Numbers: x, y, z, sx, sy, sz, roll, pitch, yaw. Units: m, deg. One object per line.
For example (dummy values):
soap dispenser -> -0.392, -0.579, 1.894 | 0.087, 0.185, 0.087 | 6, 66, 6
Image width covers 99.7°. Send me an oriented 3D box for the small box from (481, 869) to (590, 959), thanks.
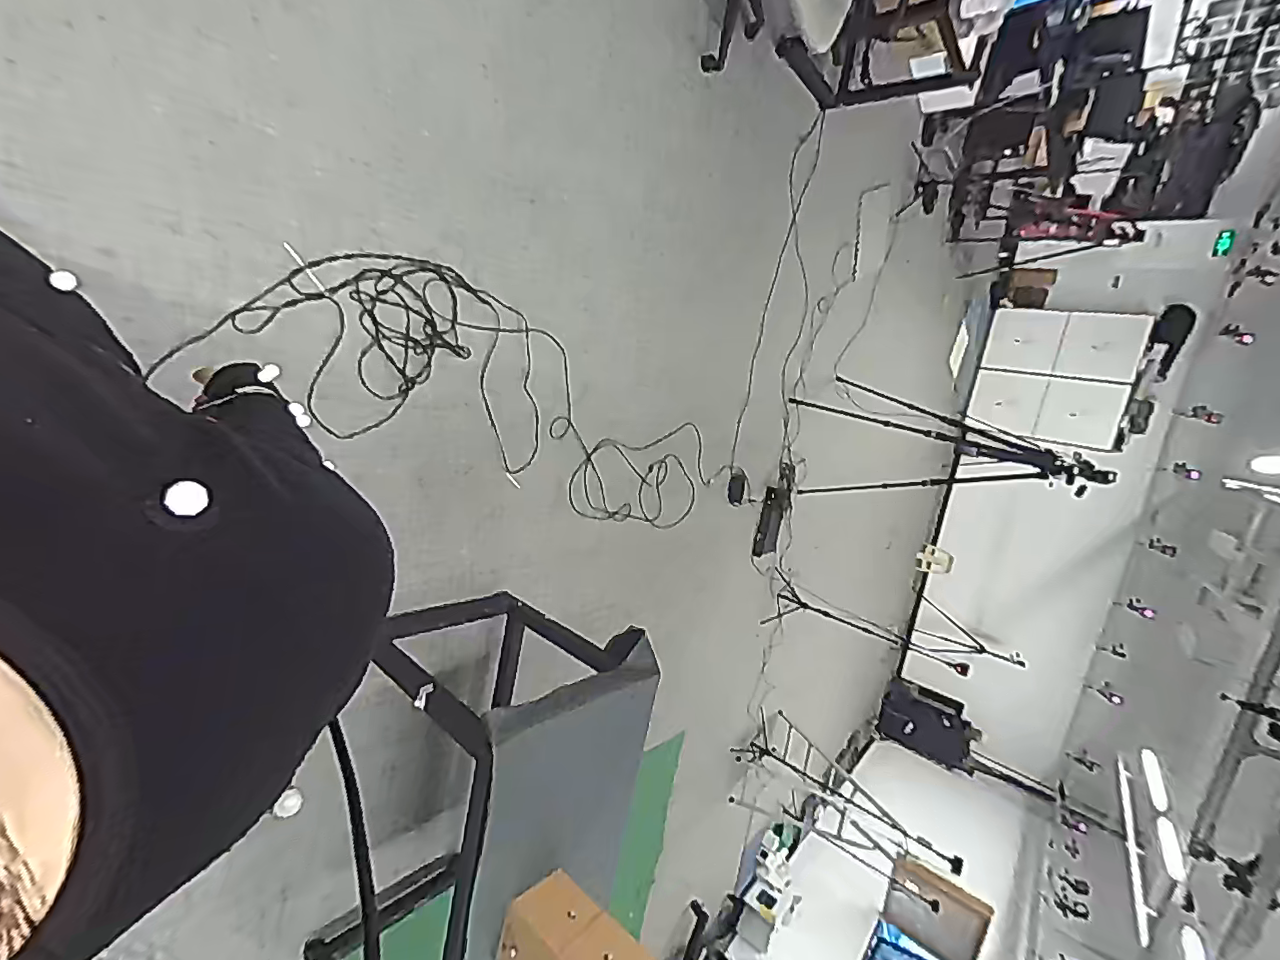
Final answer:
small box -> -0.258, 1.117, 1.335 | 0.179, 0.176, 0.168 | 9, 97, -54
